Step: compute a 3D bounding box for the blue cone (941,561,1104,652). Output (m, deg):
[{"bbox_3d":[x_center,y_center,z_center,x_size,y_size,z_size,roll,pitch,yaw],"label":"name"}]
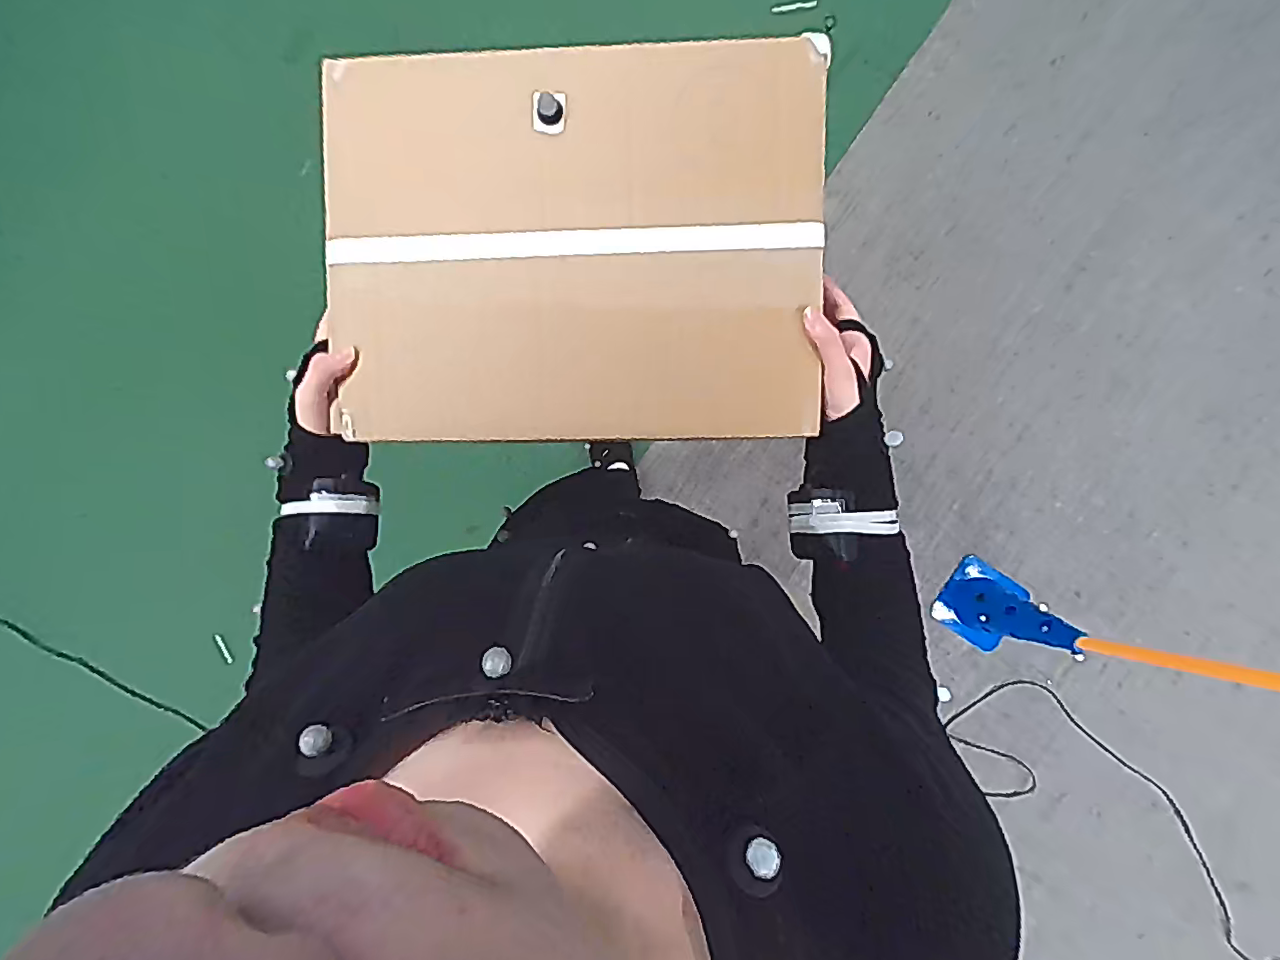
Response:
[{"bbox_3d":[0.906,0.325,1.267,0.192,0.380,0.193,32,90,2],"label":"blue cone"}]
